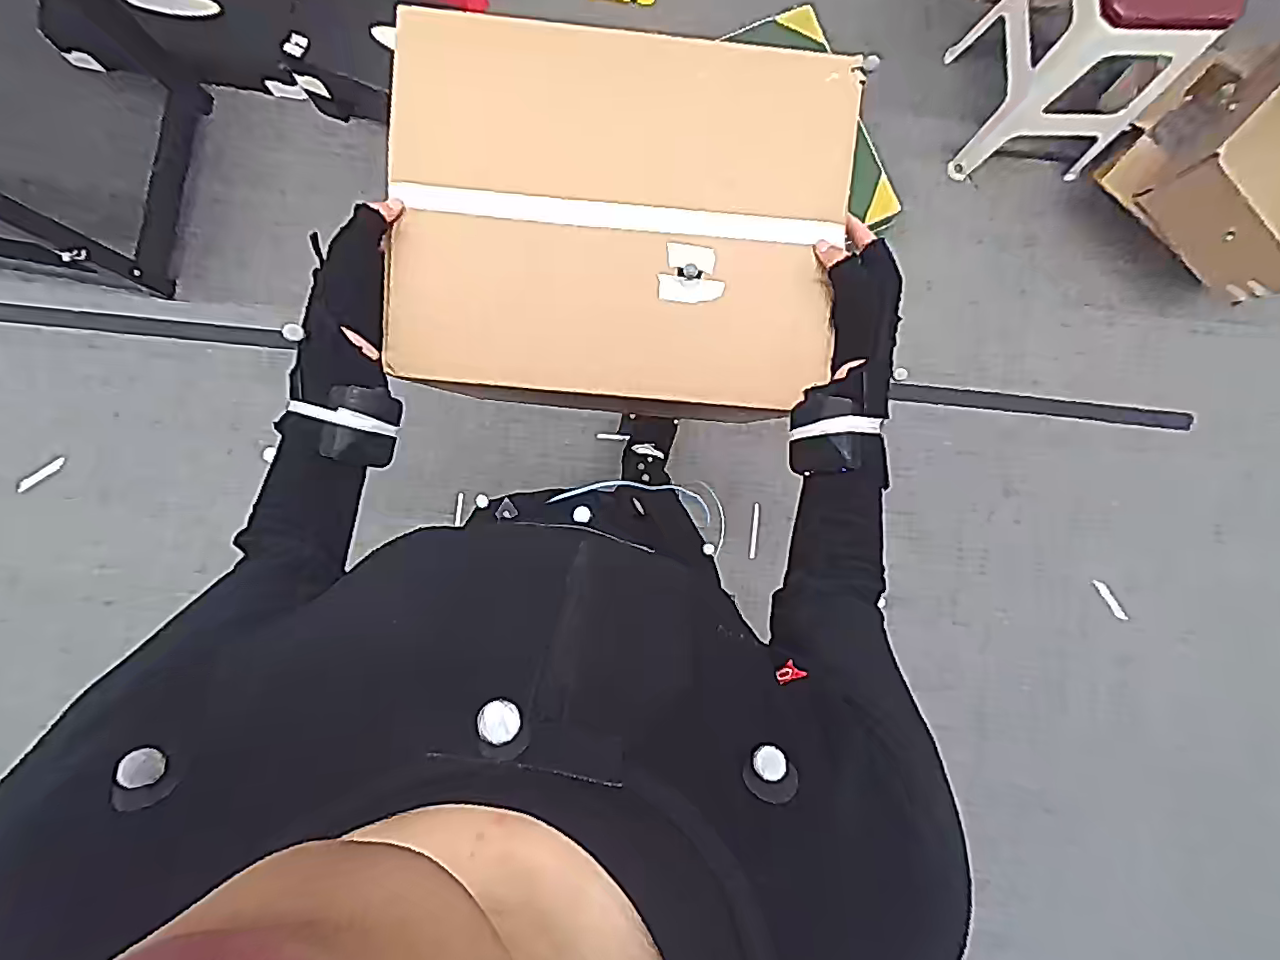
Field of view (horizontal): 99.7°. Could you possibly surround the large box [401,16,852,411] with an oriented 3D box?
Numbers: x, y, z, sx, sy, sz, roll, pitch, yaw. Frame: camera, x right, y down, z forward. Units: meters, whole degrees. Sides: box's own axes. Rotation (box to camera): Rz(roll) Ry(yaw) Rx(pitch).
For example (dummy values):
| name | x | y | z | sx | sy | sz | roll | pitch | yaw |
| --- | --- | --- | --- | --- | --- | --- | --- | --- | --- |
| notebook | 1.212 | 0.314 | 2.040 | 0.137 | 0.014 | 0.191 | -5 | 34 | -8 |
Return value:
| name | x | y | z | sx | sy | sz | roll | pitch | yaw |
| --- | --- | --- | --- | --- | --- | --- | --- | --- | --- |
| large box | -0.021 | -0.256 | 0.643 | 0.408 | 0.320 | 0.320 | 5 | 95 | -3 |
